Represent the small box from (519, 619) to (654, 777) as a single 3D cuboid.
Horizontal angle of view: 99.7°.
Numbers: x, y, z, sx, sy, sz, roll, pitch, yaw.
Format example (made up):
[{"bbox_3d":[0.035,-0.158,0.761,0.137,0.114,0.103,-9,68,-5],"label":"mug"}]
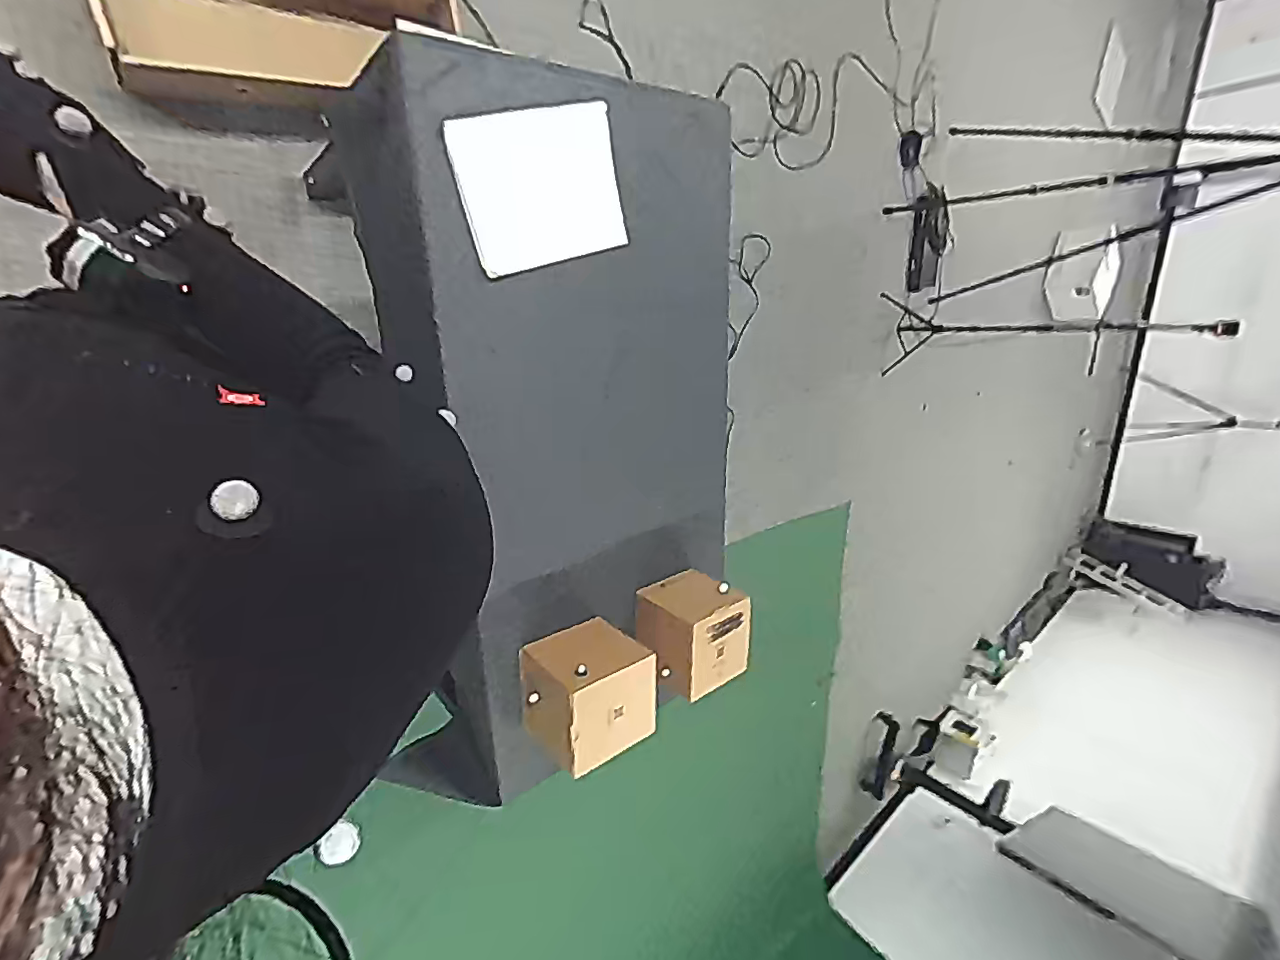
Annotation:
[{"bbox_3d":[-0.094,0.371,0.962,0.179,0.176,0.168,-13,110,-39],"label":"small box"}]
